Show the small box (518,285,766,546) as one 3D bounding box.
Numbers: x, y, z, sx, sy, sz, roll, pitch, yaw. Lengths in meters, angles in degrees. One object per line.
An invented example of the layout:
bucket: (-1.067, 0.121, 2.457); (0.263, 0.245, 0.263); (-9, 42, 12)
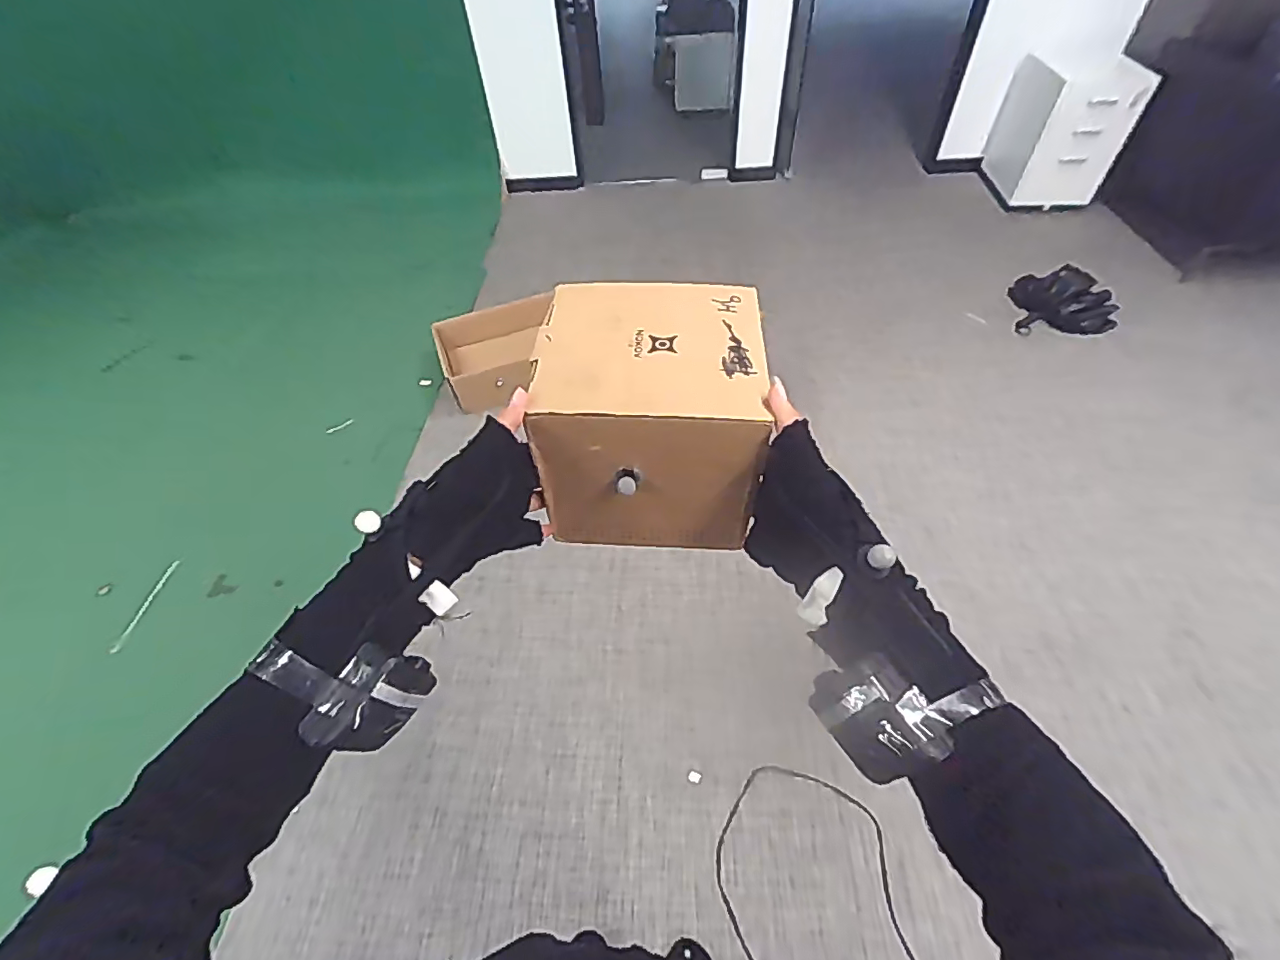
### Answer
small box: (0.008, -0.054, 0.482); (0.179, 0.176, 0.168); (2, 51, 3)
